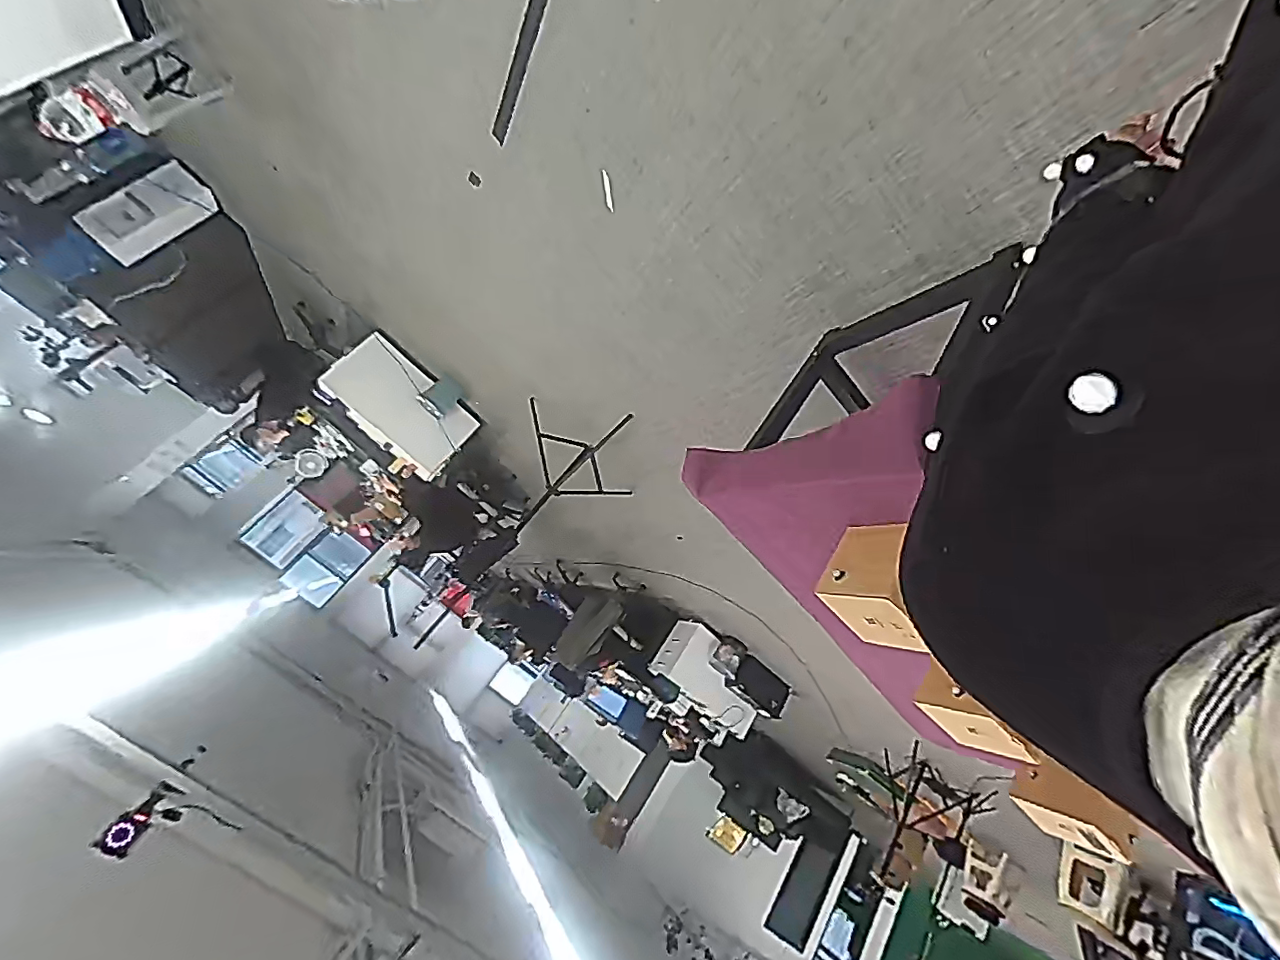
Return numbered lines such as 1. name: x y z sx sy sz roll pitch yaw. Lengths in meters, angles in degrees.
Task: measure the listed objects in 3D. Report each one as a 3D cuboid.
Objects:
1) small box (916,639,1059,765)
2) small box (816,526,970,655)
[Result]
1. small box: 0.735 0.457 1.144 0.168 0.176 0.179 42 156 -11
2. small box: 0.478 0.201 1.022 0.168 0.176 0.179 42 157 -15
